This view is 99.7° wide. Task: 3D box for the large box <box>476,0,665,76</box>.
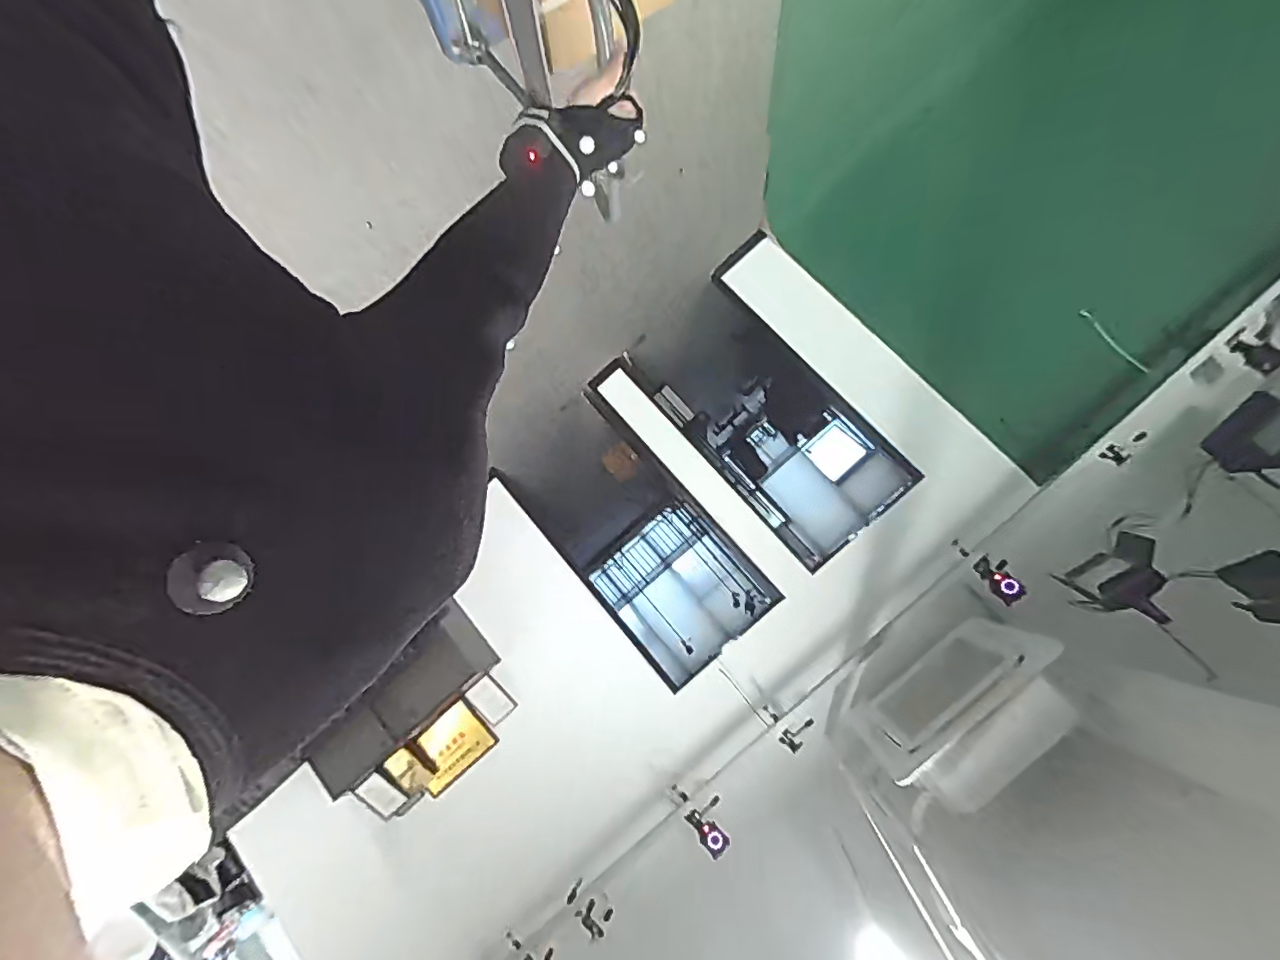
[{"bbox_3d":[-0.153,-1.190,1.145,0.408,0.320,0.320,-40,169,-9],"label":"large box"}]
